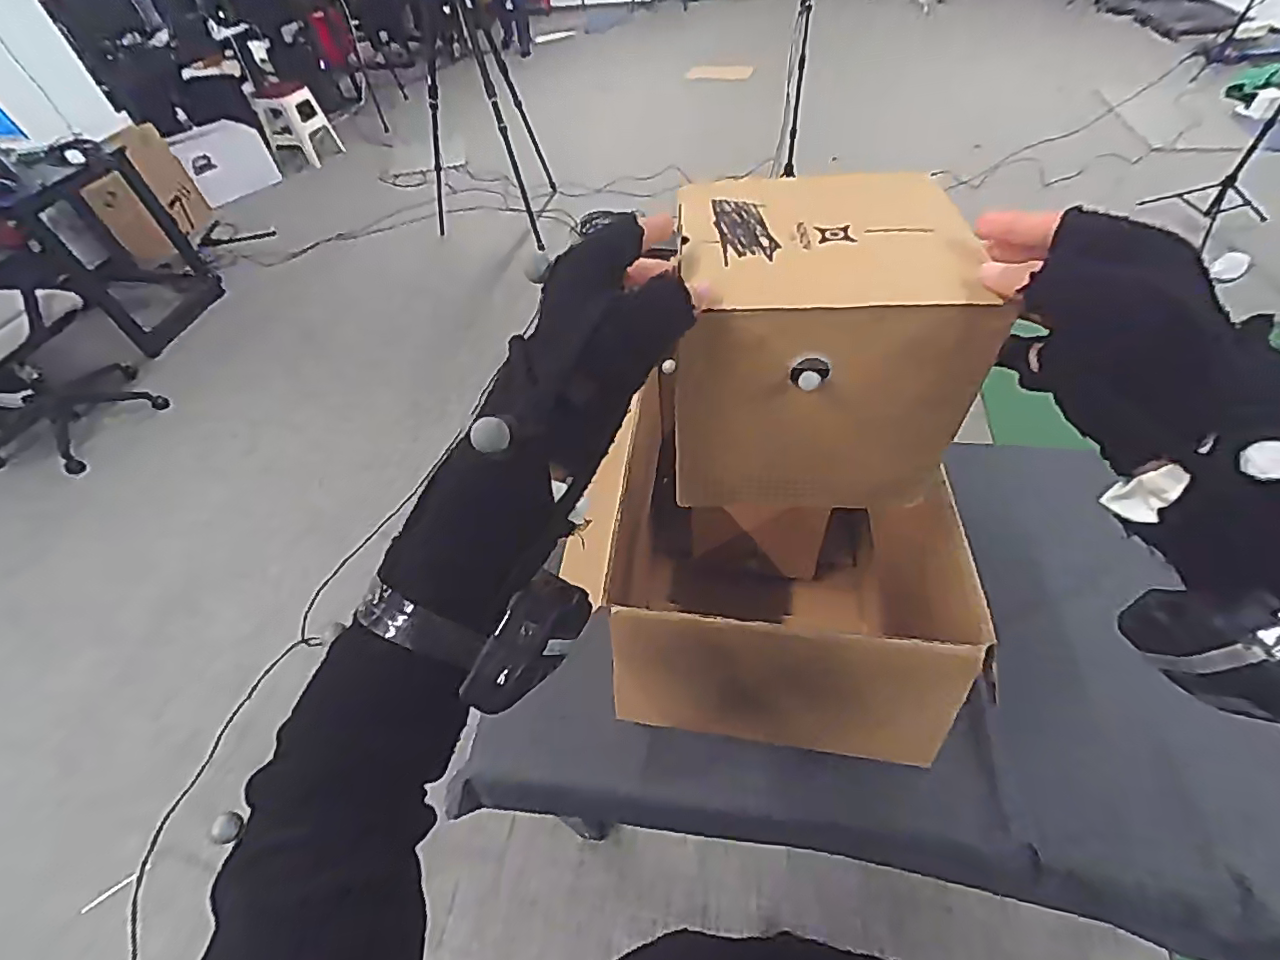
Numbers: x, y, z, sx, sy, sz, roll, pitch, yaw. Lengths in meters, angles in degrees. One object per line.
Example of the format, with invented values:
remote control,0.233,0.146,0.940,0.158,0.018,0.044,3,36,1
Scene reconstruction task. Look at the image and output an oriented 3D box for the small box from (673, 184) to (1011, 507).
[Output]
small box,0.116,-0.093,0.395,0.179,0.176,0.168,0,50,5
